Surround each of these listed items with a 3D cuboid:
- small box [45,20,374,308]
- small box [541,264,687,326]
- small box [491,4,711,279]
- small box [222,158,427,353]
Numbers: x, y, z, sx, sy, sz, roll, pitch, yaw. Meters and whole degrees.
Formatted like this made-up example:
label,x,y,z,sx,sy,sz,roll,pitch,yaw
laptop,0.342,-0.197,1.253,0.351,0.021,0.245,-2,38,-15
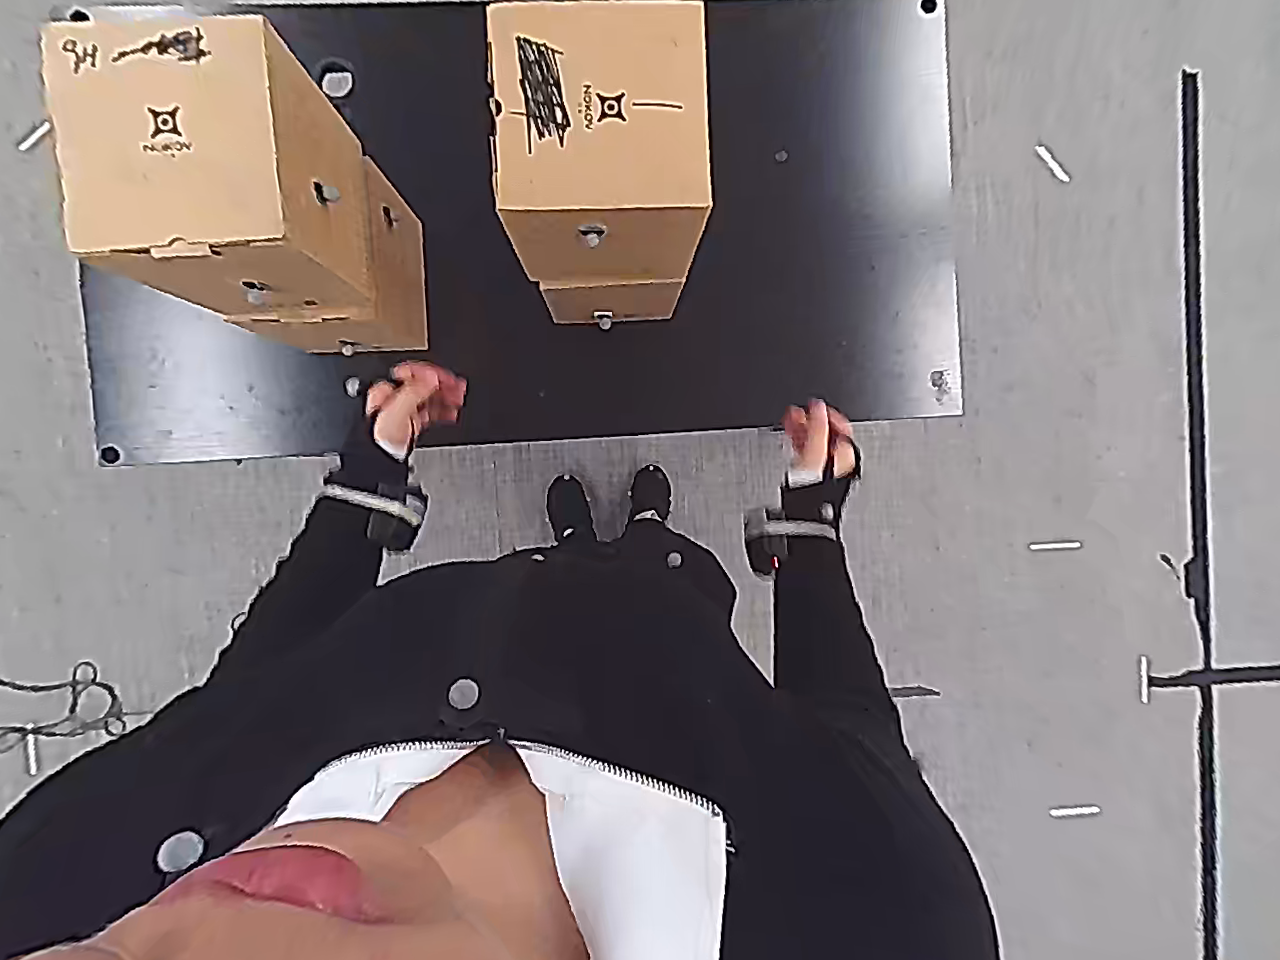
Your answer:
label,x,y,z,sx,sy,sz,roll,pitch,yaw
small box,-0.365,-0.265,0.496,0.168,0.176,0.179,-5,93,-3
small box,-0.038,-0.305,0.681,0.168,0.176,0.179,-5,93,-2
small box,-0.034,-0.301,0.516,0.179,0.176,0.168,-2,92,-3
small box,-0.372,-0.261,0.660,0.168,0.176,0.179,-2,92,-3
